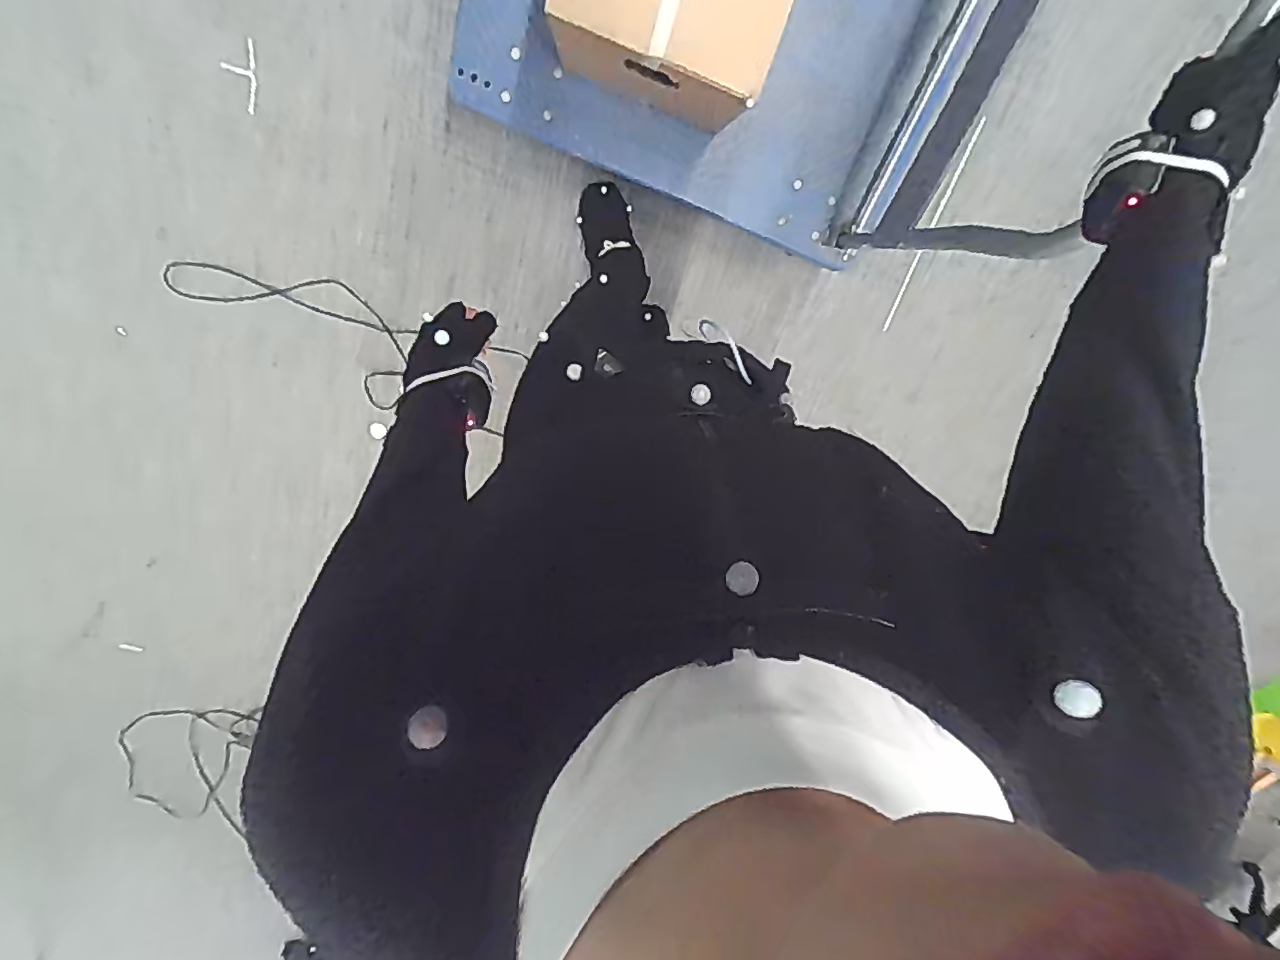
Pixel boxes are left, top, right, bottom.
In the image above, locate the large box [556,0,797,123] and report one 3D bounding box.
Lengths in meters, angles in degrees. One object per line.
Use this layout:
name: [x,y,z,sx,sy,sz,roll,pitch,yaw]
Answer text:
large box: [0.083,-0.825,0.799,0.320,0.320,0.408,16,115,-10]
